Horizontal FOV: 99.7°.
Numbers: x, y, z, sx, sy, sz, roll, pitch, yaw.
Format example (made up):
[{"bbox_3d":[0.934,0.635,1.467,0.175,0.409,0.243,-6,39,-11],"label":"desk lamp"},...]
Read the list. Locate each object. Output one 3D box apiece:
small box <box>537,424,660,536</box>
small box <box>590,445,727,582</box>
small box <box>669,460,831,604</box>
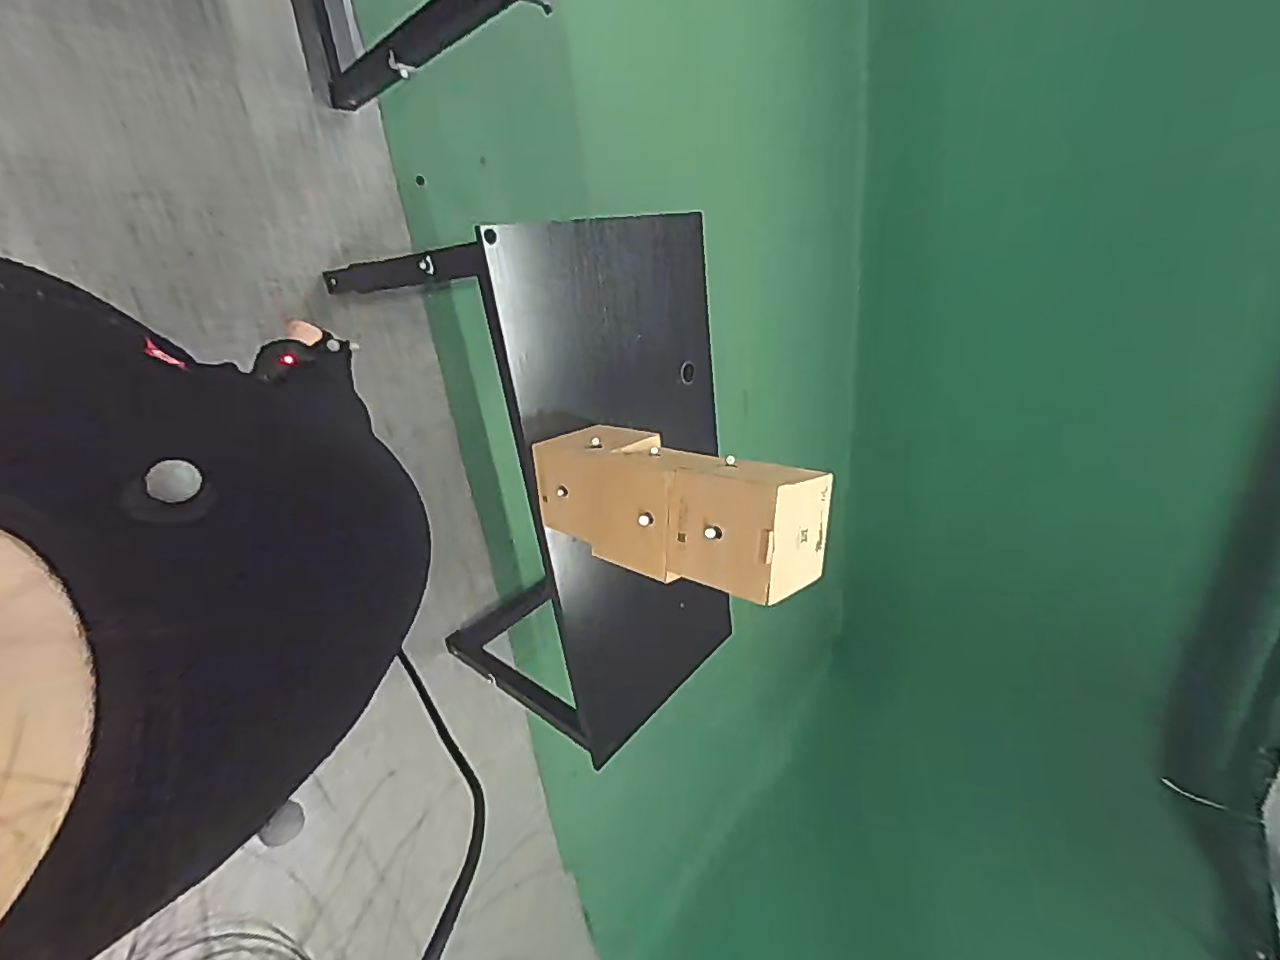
[{"bbox_3d":[-0.078,-0.003,1.019,0.179,0.176,0.168,-23,118,-44],"label":"small box"},{"bbox_3d":[0.030,0.046,0.906,0.168,0.176,0.179,-13,110,-47],"label":"small box"},{"bbox_3d":[0.161,0.065,0.809,0.179,0.176,0.168,-8,106,-47],"label":"small box"}]
